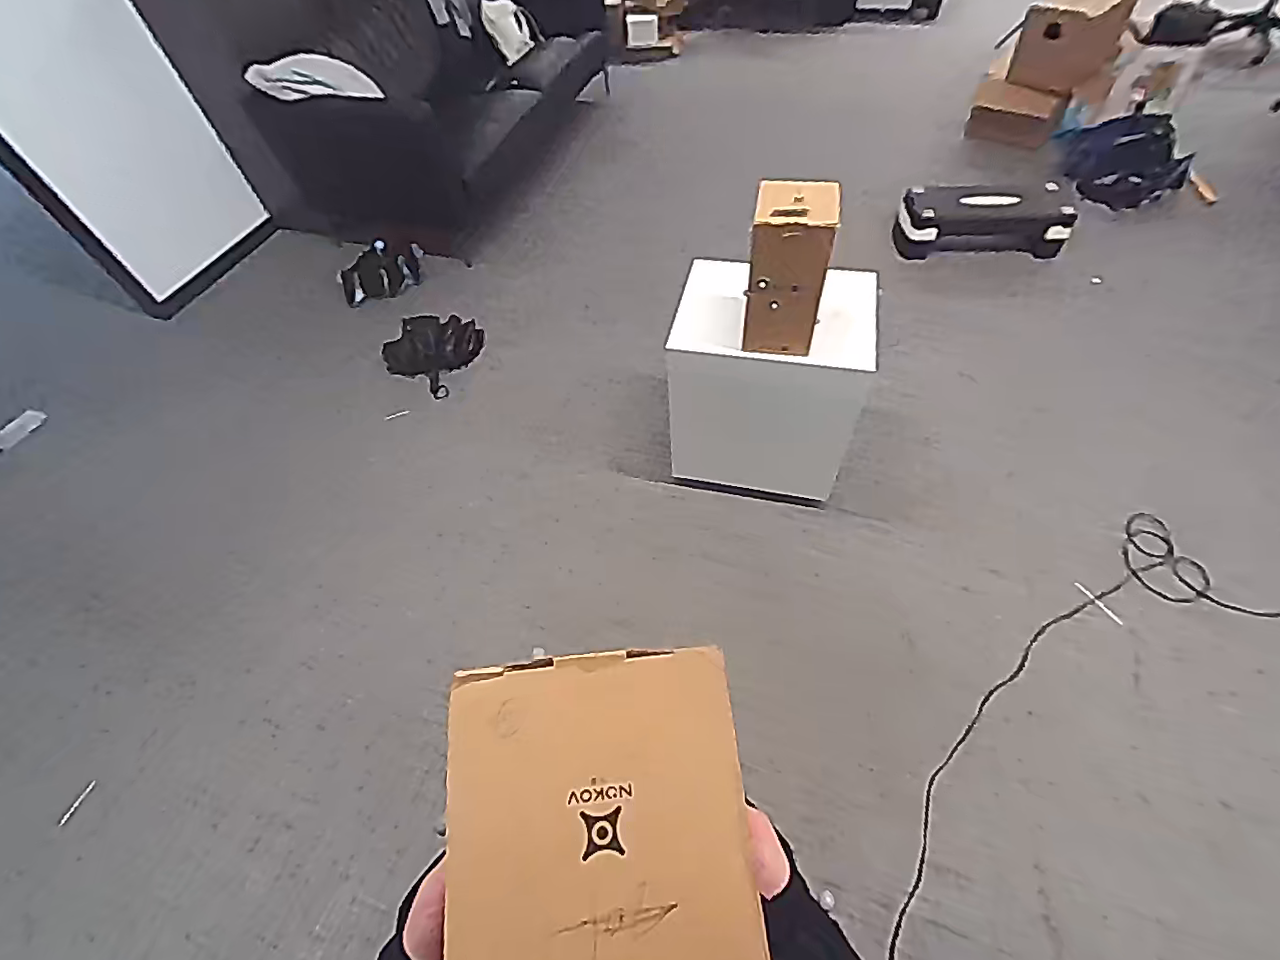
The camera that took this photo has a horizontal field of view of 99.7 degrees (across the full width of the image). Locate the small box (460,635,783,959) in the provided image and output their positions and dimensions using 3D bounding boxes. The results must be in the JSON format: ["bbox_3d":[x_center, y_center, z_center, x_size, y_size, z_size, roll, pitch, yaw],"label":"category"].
[{"bbox_3d":[-0.023,0.212,0.370,0.168,0.176,0.179,-4,69,-8],"label":"small box"}]

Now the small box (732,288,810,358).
[{"bbox_3d":[0.318,-0.423,1.327,0.168,0.176,0.179,5,53,10],"label":"small box"}]

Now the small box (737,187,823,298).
[{"bbox_3d":[0.307,-0.523,1.196,0.168,0.176,0.179,6,53,10],"label":"small box"}]
